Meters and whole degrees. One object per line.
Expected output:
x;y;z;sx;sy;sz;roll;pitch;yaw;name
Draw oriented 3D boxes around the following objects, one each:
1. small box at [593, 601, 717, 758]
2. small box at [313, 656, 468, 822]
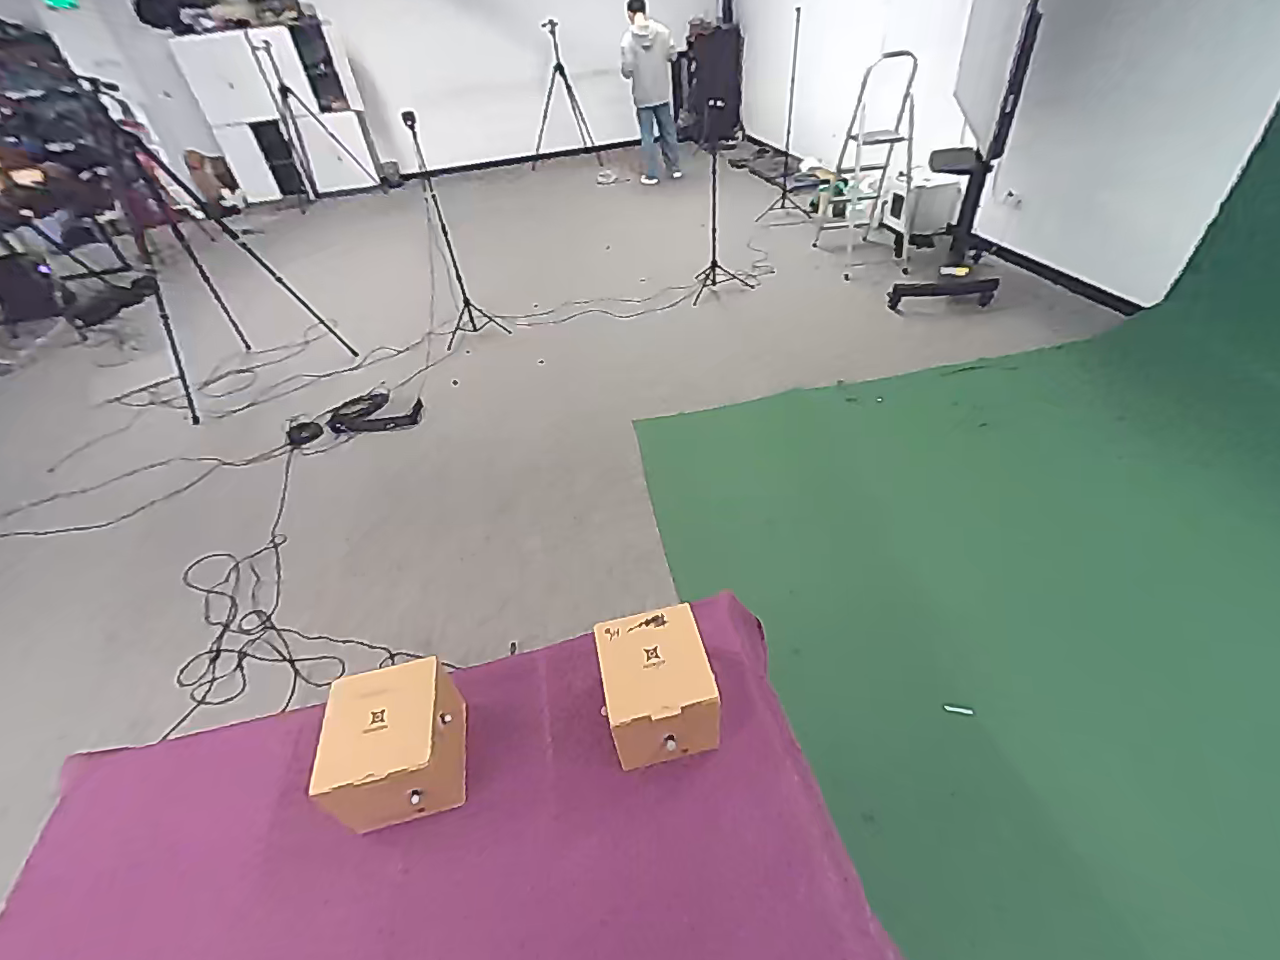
0.027;0.333;0.889;0.168;0.176;0.179;-12;42;-5;small box
-0.380;0.416;0.861;0.168;0.176;0.179;-13;42;-6;small box
